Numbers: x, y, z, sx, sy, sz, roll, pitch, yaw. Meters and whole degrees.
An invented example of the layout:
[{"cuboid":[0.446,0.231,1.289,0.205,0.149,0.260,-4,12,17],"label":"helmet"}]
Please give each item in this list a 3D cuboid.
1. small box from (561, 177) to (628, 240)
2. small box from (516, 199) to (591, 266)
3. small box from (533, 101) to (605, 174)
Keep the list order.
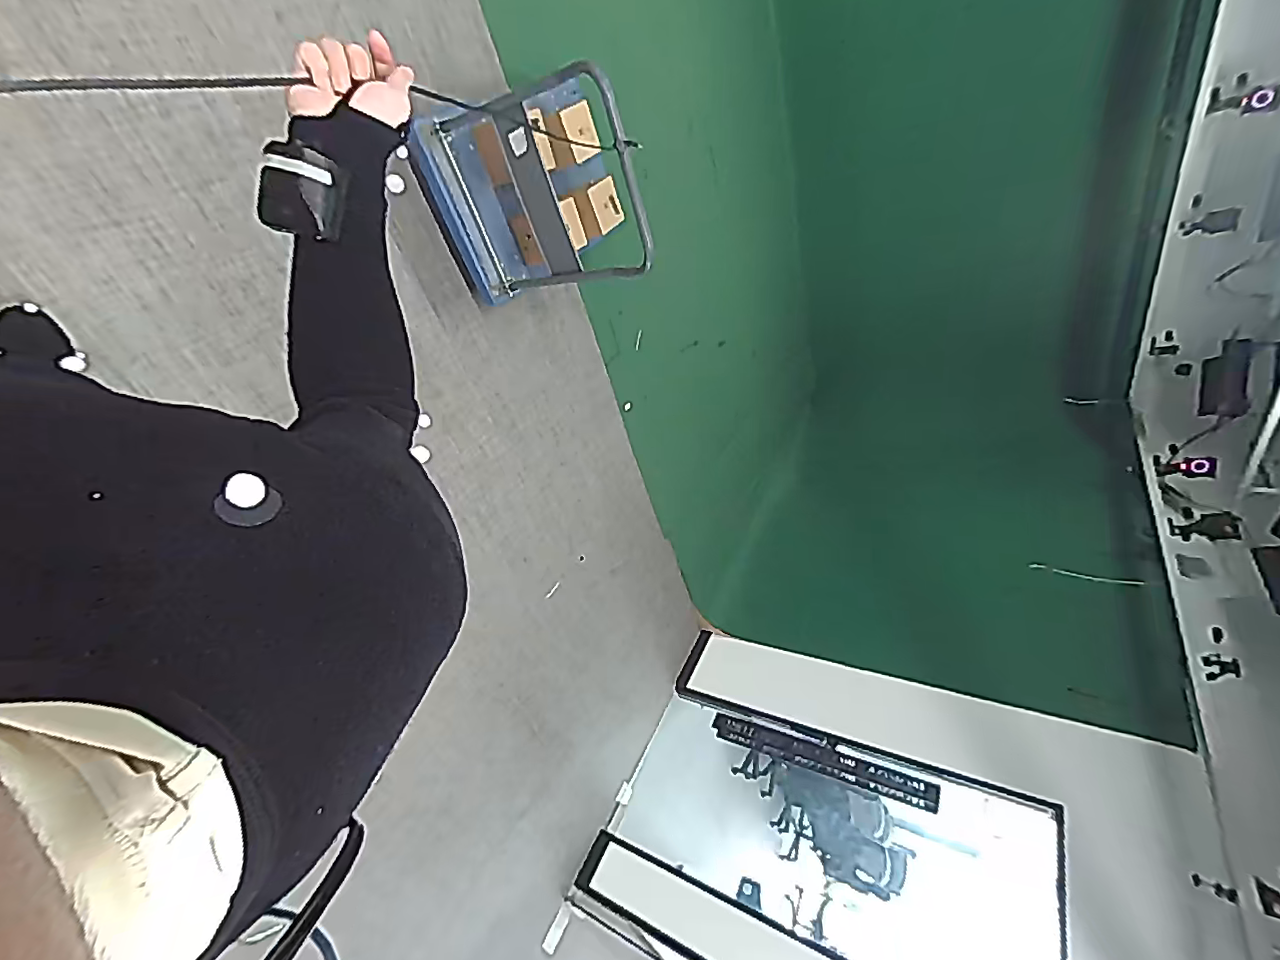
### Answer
[{"cuboid":[-0.179,-1.052,2.109,0.179,0.176,0.168,-54,135,-35],"label":"small box"},{"cuboid":[-0.311,-0.887,1.940,0.179,0.176,0.168,-50,133,-39],"label":"small box"},{"cuboid":[-0.263,-1.239,1.962,0.179,0.176,0.168,-55,136,-36],"label":"small box"}]
